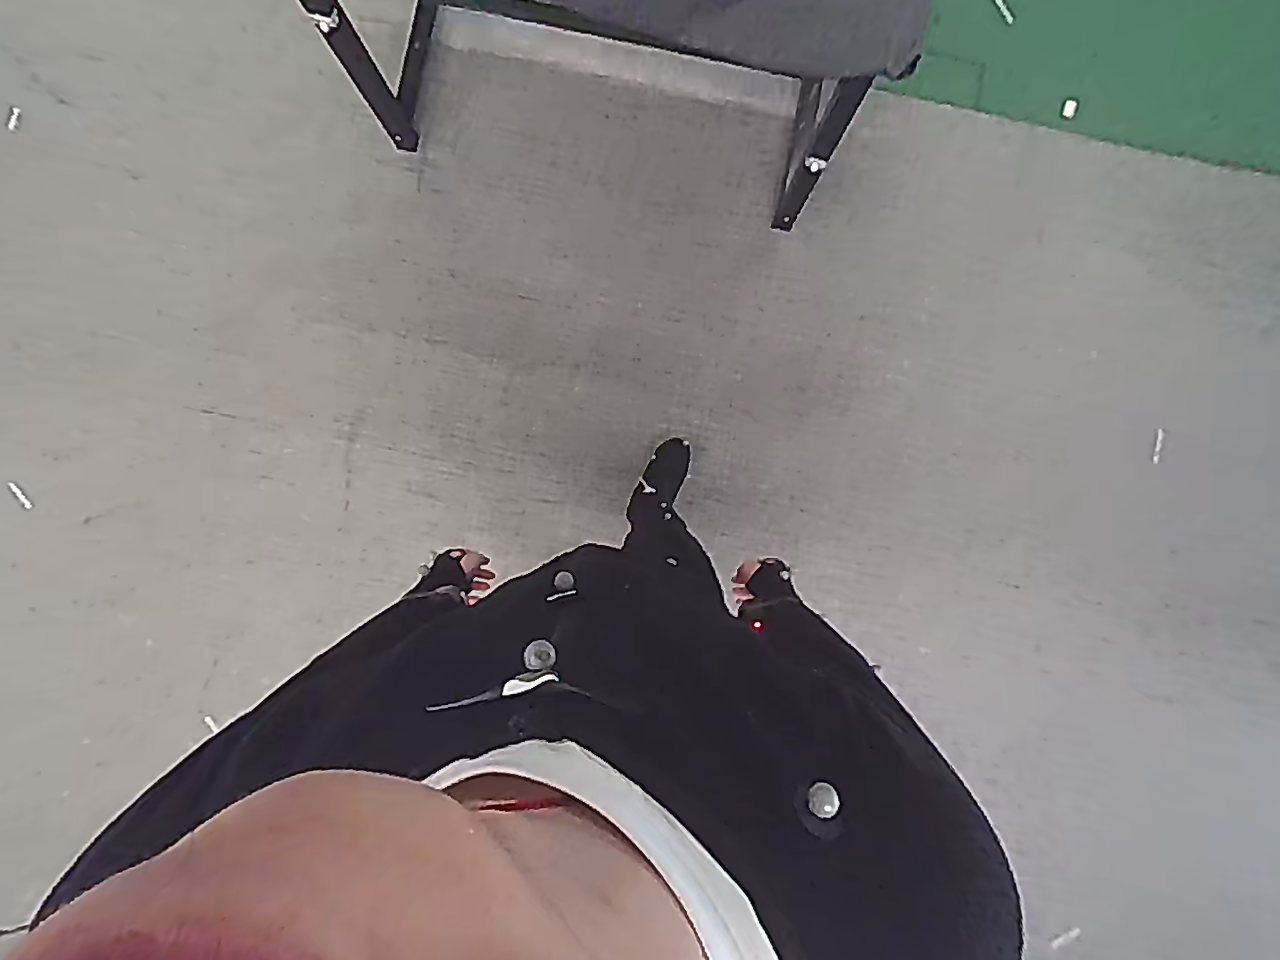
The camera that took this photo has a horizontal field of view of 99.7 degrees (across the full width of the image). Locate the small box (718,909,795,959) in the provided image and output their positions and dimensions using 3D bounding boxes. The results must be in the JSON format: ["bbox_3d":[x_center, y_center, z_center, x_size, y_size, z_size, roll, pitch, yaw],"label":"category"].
[{"bbox_3d":[0.310,1.300,1.434,0.168,0.176,0.179,13,88,-1],"label":"small box"}]
